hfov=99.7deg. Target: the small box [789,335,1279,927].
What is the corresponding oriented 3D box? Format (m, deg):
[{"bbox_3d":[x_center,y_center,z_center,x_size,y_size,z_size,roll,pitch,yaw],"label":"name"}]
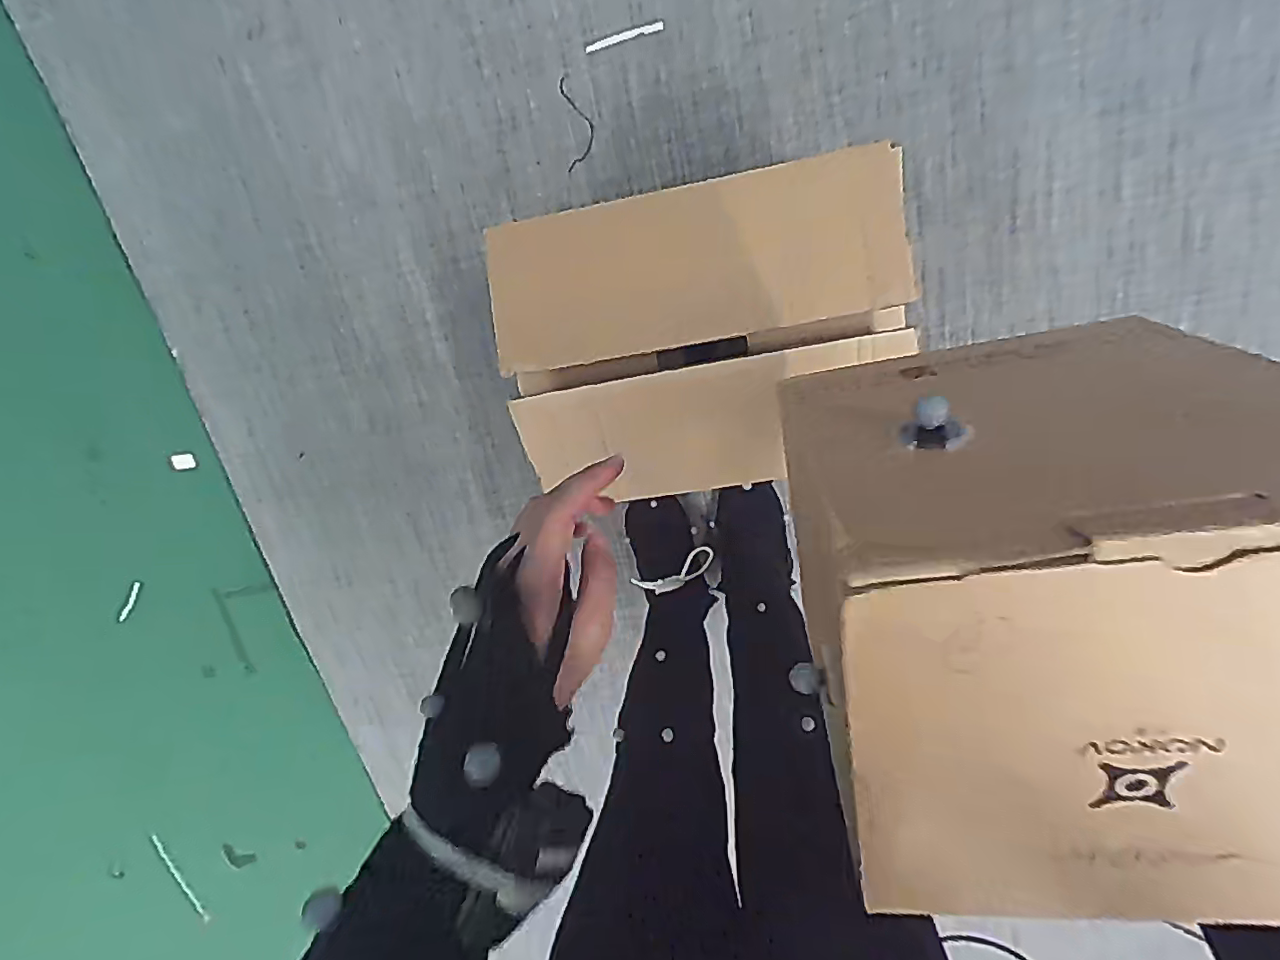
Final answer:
[{"bbox_3d":[0.161,0.048,0.230,0.168,0.176,0.179,-8,118,13],"label":"small box"}]
